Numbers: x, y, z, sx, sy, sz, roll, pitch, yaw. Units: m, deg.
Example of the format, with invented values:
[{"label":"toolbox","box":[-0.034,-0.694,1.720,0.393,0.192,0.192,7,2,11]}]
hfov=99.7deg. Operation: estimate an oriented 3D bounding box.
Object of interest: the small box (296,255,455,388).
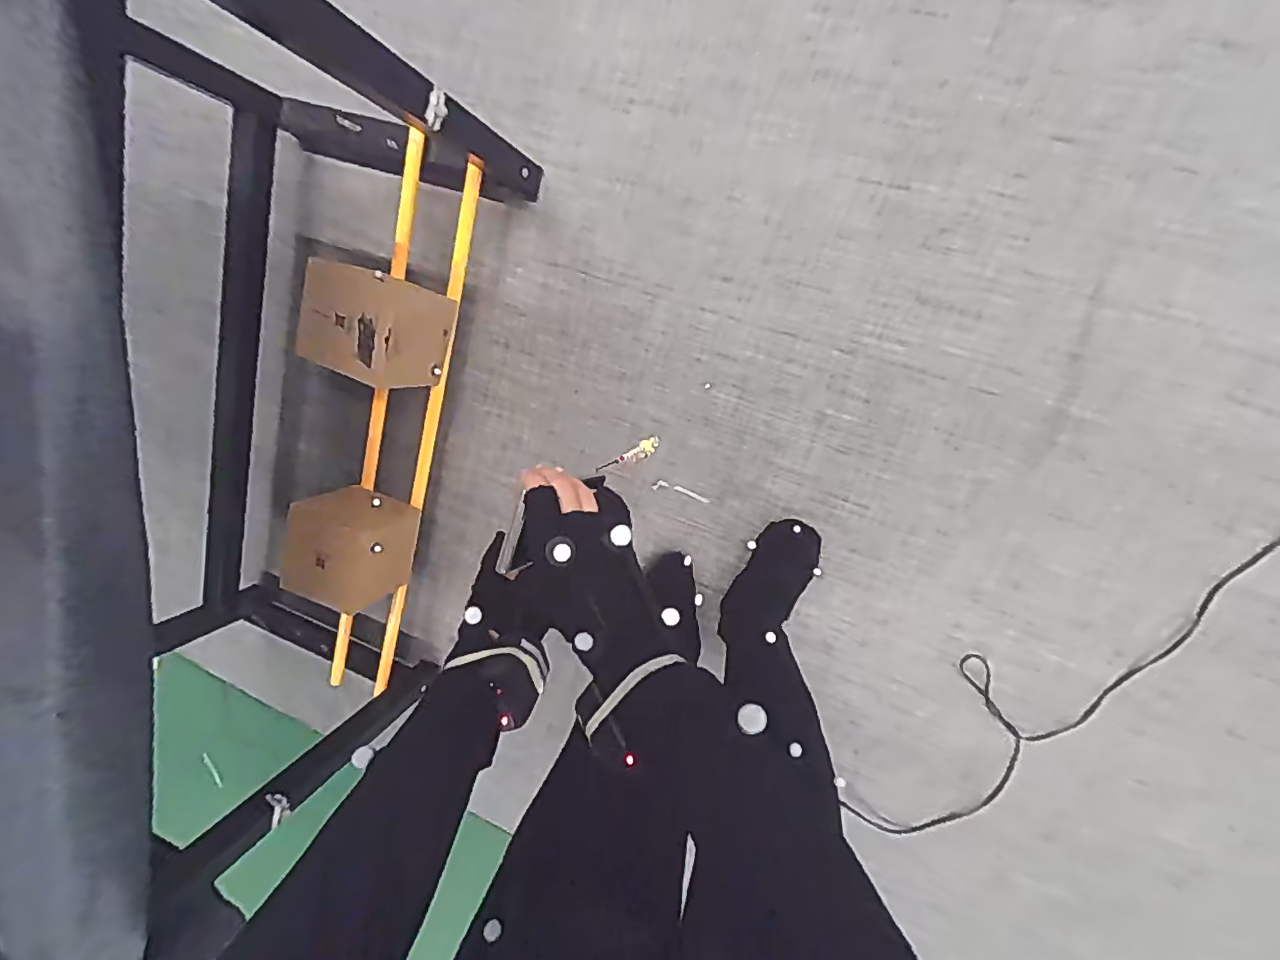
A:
[{"label":"small box","box":[-0.456,-0.273,0.950,0.179,0.176,0.168,23,106,10]}]
